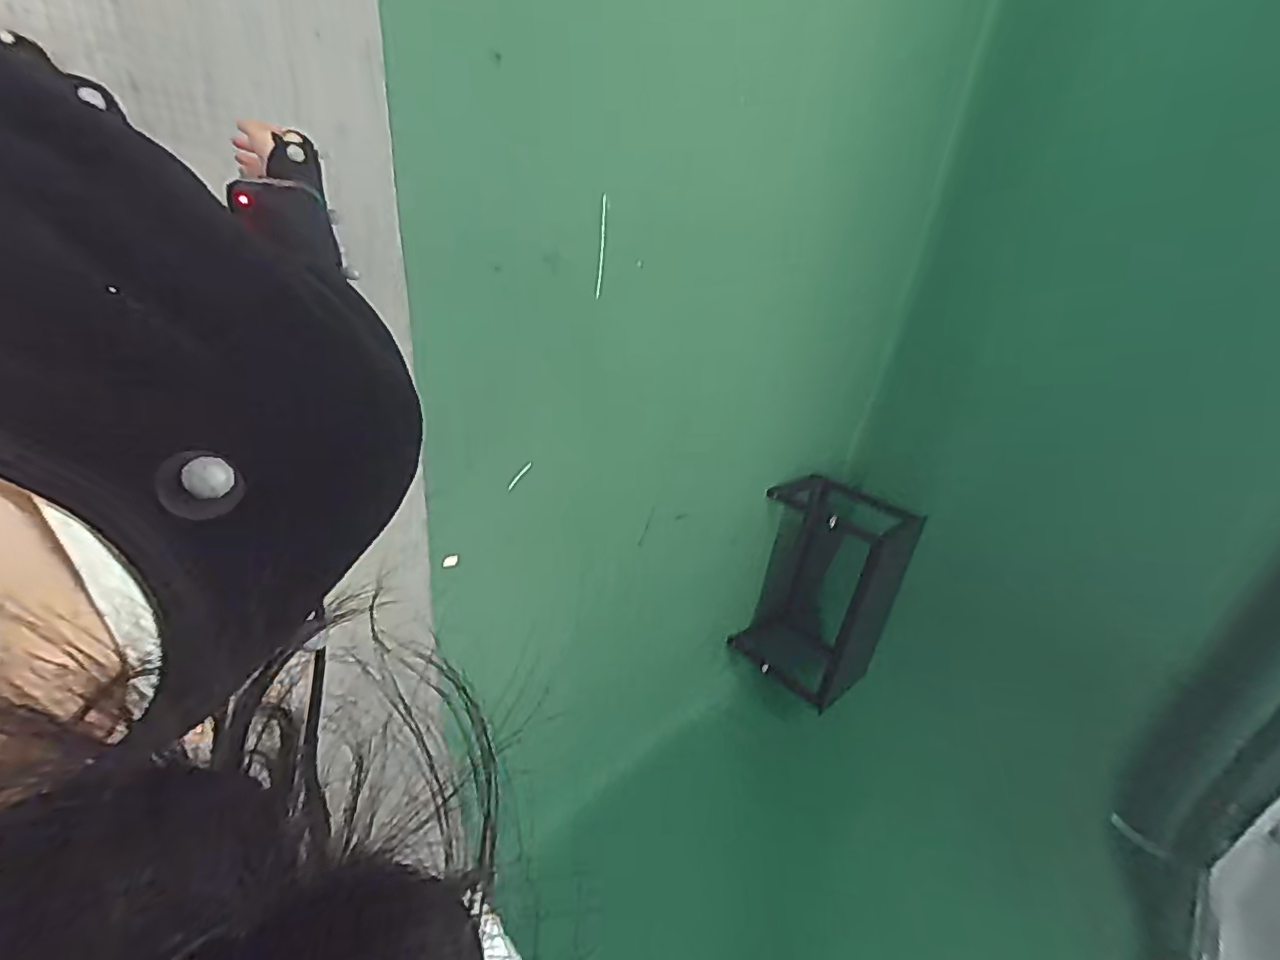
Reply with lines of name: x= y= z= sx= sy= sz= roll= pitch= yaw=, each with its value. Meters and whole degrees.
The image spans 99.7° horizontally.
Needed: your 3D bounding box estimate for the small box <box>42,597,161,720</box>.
small box: x=-1.190 y=0.380 z=1.197 sx=0.168 sy=0.176 sz=0.179 roll=-11 pitch=120 yaw=-43
